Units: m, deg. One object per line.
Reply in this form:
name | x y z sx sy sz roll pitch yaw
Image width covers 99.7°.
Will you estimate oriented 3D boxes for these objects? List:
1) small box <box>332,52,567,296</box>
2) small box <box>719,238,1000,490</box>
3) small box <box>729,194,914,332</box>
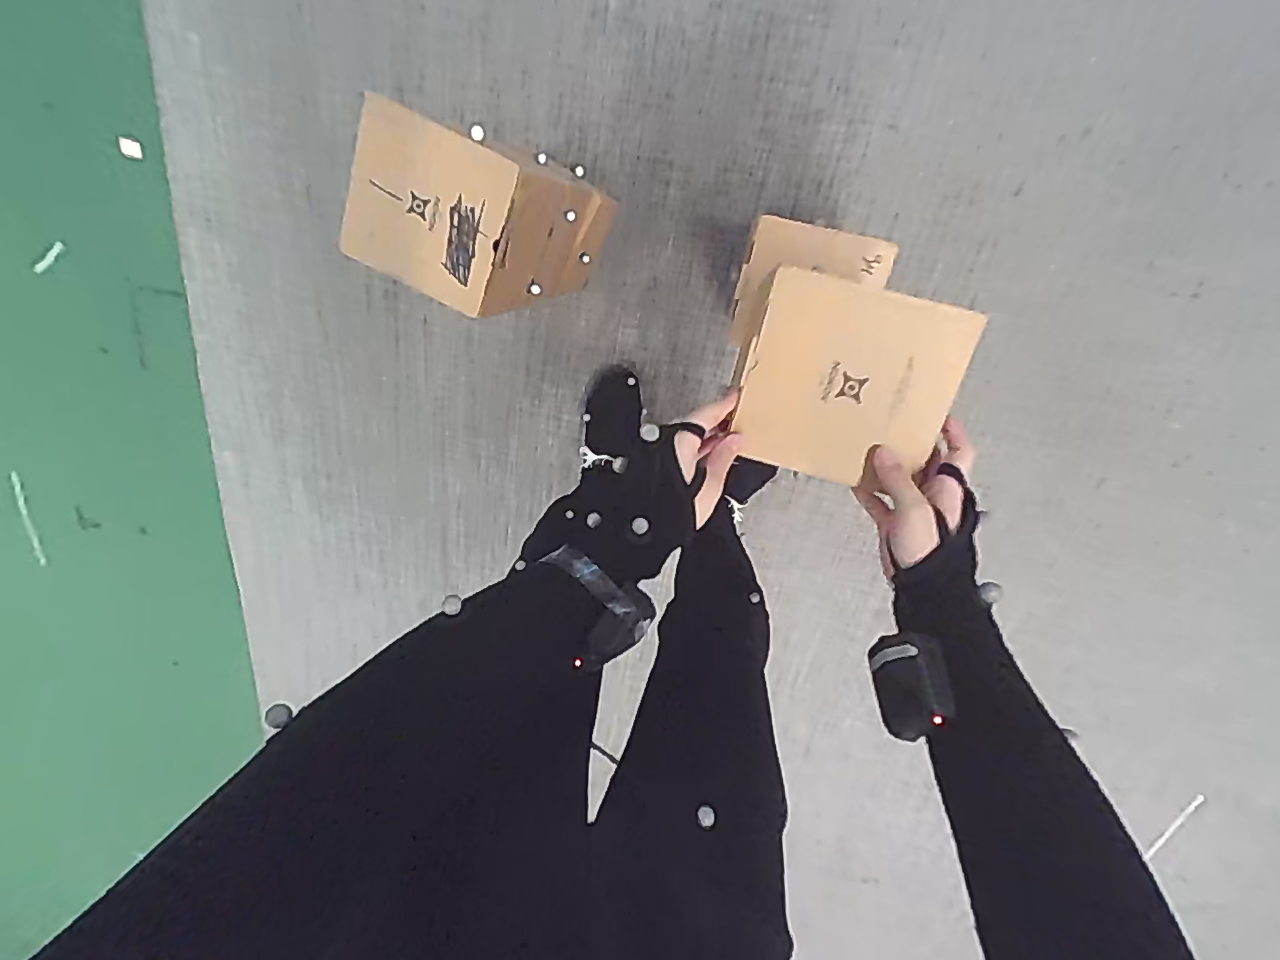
small box | -0.205 -0.334 0.617 0.179 0.176 0.168 28 116 -1
small box | 0.183 -0.110 0.516 0.179 0.176 0.168 18 108 3
small box | 0.233 -0.274 0.738 0.179 0.176 0.168 17 116 5
